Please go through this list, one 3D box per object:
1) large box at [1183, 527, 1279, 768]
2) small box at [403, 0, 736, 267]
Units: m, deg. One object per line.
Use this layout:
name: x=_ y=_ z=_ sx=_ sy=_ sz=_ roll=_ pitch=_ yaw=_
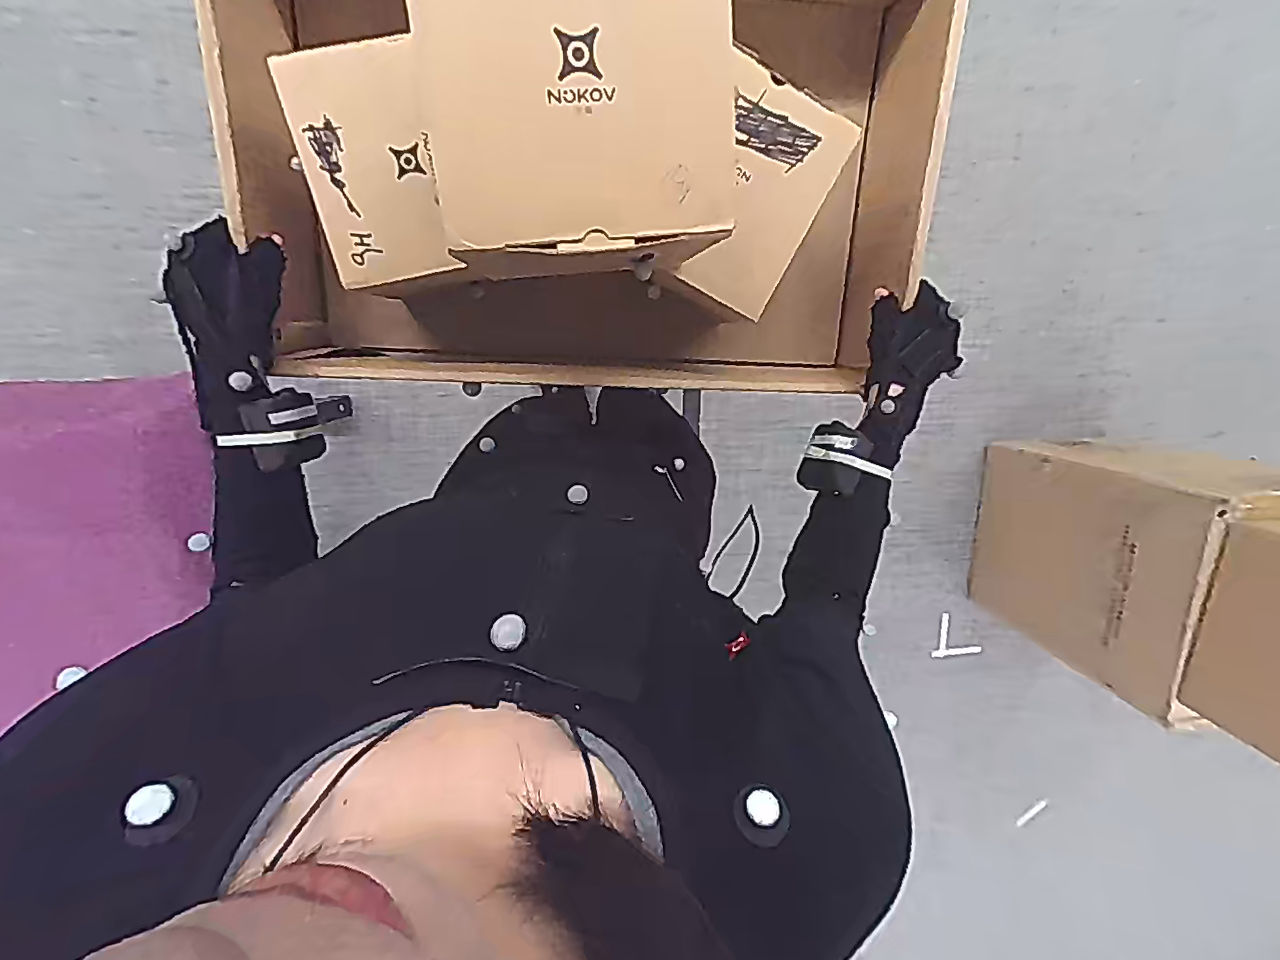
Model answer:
large box: x=1.282 y=0.314 z=0.944 sx=0.320 sy=0.320 sz=0.408 roll=0 pitch=104 yaw=-5
small box: x=-0.041 y=-0.238 z=0.349 sx=0.168 sy=0.176 sz=0.179 roll=-7 pitch=106 yaw=-6
